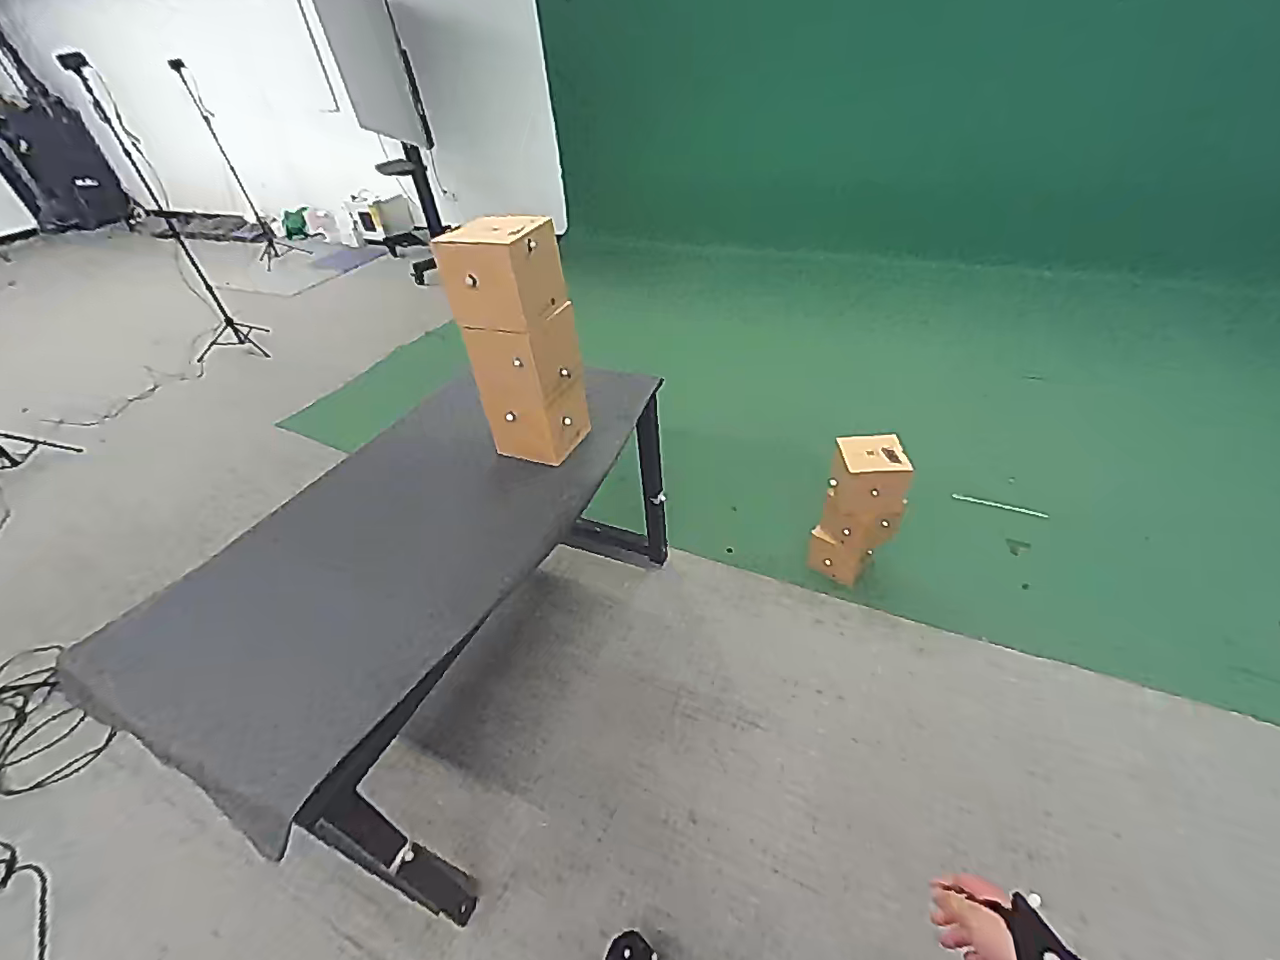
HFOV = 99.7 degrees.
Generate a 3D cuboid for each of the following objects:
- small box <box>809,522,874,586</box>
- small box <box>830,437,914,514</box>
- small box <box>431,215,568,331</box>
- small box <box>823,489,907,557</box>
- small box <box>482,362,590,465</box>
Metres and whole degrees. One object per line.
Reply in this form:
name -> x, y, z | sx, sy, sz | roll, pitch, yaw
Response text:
small box -> 0.691, 0.227, 1.839 | 0.168, 0.176, 0.179 | 28, 50, 33
small box -> 0.684, -0.012, 1.615 | 0.179, 0.176, 0.168 | -2, 42, 5
small box -> -0.265, -0.405, 1.059 | 0.179, 0.176, 0.168 | 10, 43, 20
small box -> 0.705, 0.115, 1.719 | 0.179, 0.176, 0.168 | -21, 44, -18
small box -> -0.234, -0.156, 1.271 | 0.179, 0.176, 0.168 | 13, 44, 23
